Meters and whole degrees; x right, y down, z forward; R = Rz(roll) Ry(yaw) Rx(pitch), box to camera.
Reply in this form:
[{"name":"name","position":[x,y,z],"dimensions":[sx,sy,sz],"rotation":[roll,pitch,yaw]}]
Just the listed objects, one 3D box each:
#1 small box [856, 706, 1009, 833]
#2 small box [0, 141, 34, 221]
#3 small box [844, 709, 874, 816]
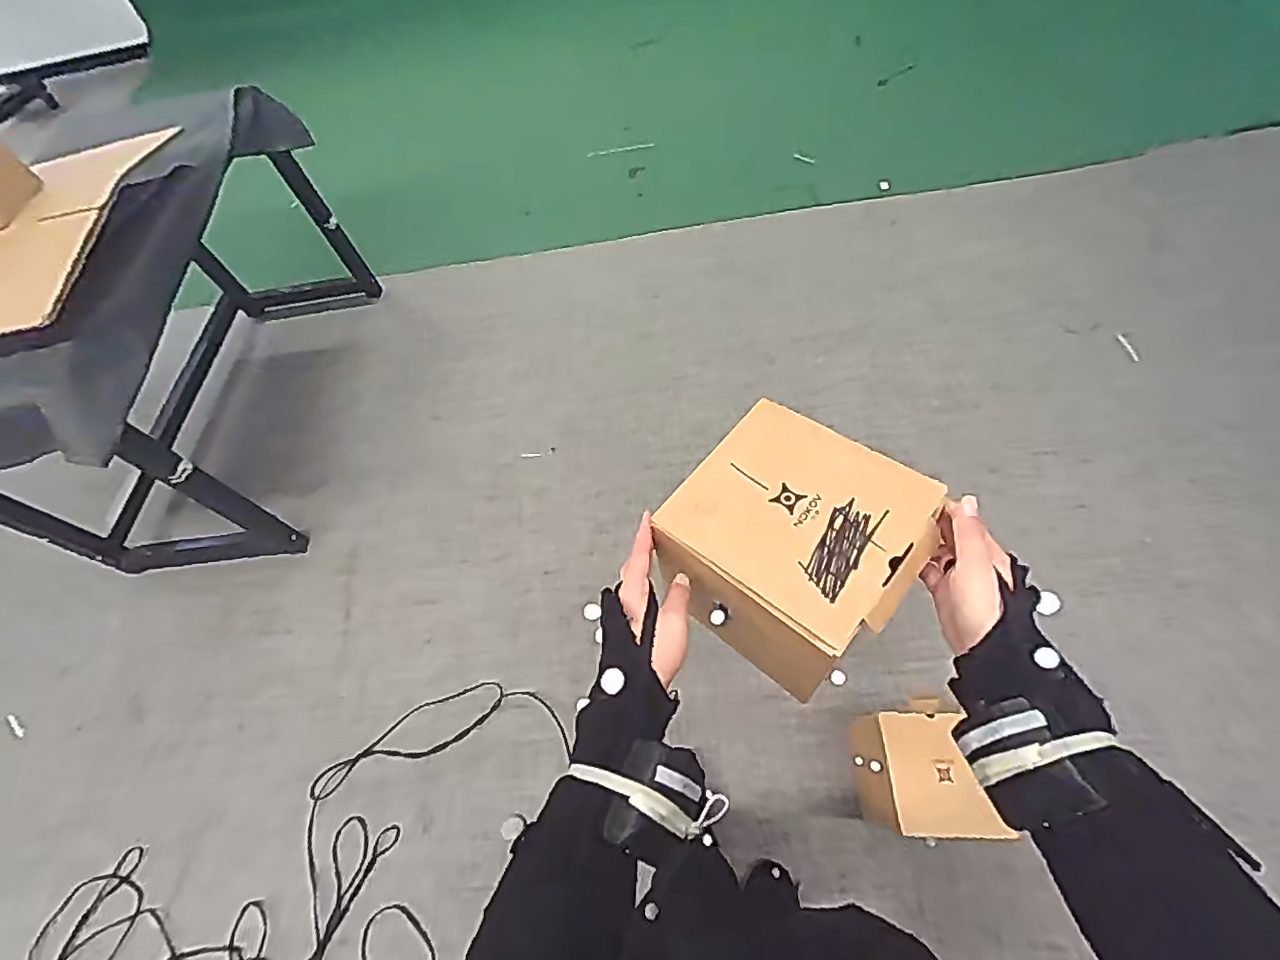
[{"name":"small box","position":[0.477,0.486,0.913],"dimensions":[0.168,0.176,0.179],"rotation":[-4,59,7]},{"name":"small box","position":[-1.380,-0.616,1.065],"dimensions":[0.168,0.176,0.179],"rotation":[-11,58,6]},{"name":"small box","position":[0.510,0.555,1.058],"dimensions":[0.168,0.176,0.179],"rotation":[-4,58,7]}]
